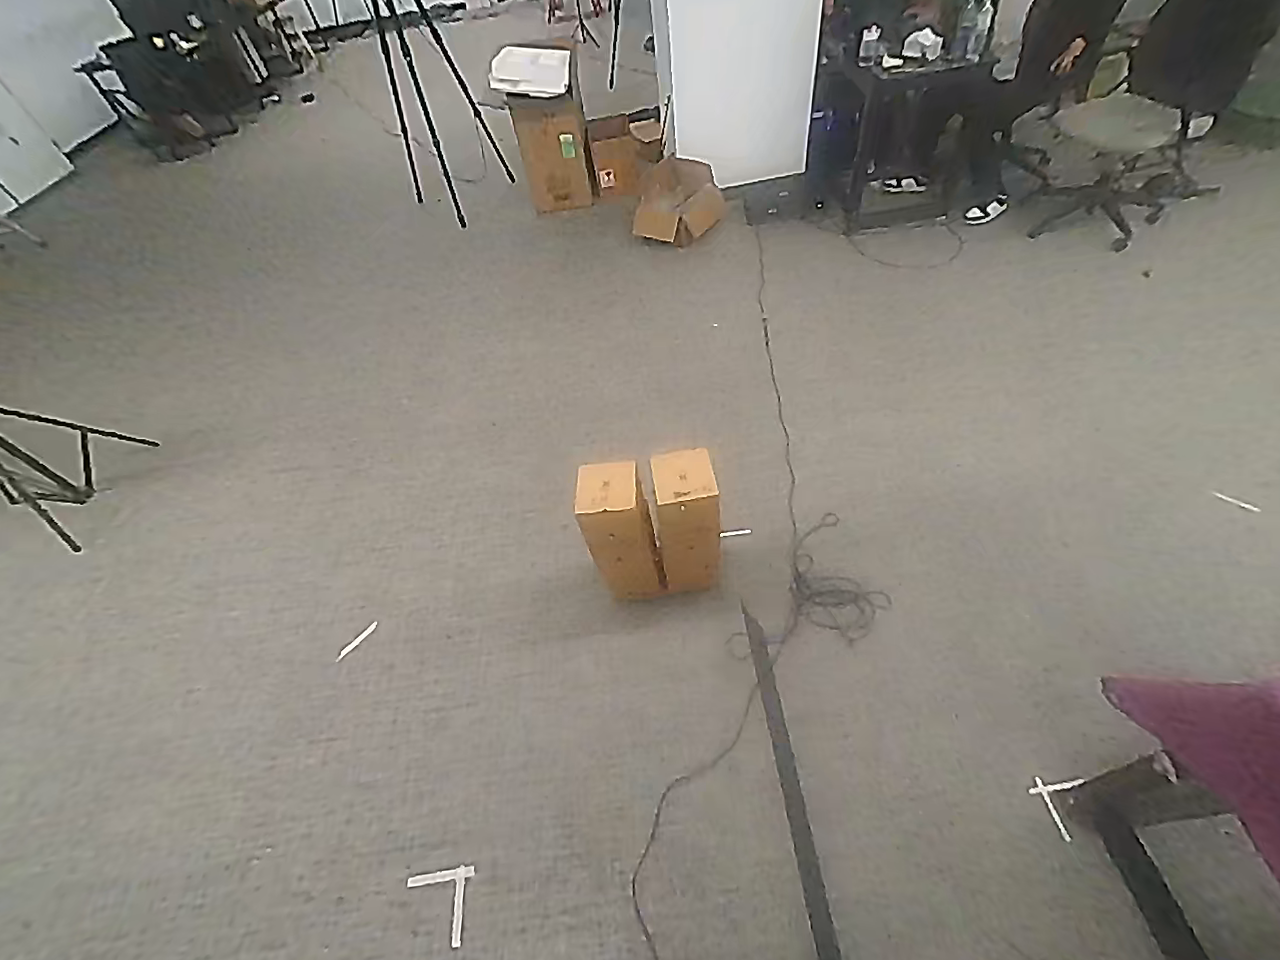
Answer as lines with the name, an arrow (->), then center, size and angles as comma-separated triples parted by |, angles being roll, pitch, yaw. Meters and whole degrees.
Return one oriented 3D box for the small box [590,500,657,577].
small box -> -0.044, 0.181, 1.644 | 0.179, 0.176, 0.168 | -7, 50, 8
